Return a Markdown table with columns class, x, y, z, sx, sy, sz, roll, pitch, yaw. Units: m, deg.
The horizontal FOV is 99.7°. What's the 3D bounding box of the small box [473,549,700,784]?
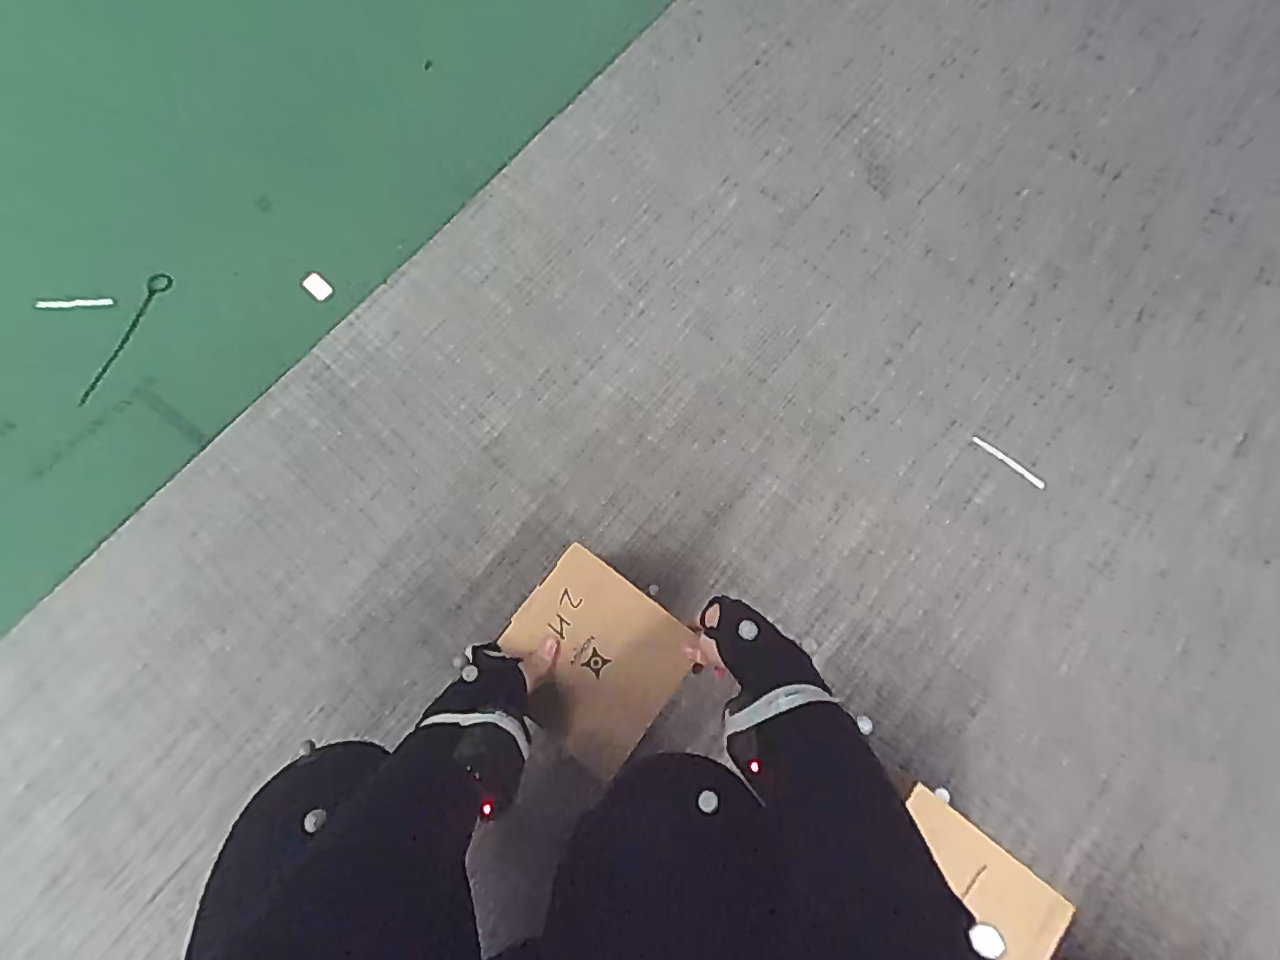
| class | x | y | z | sx | sy | sz | roll | pitch | yaw |
| --- | --- | --- | --- | --- | --- | --- | --- | --- | --- |
| small box | -0.053 | 0.201 | 0.627 | 0.179 | 0.176 | 0.168 | 37 | 80 | 9 |
